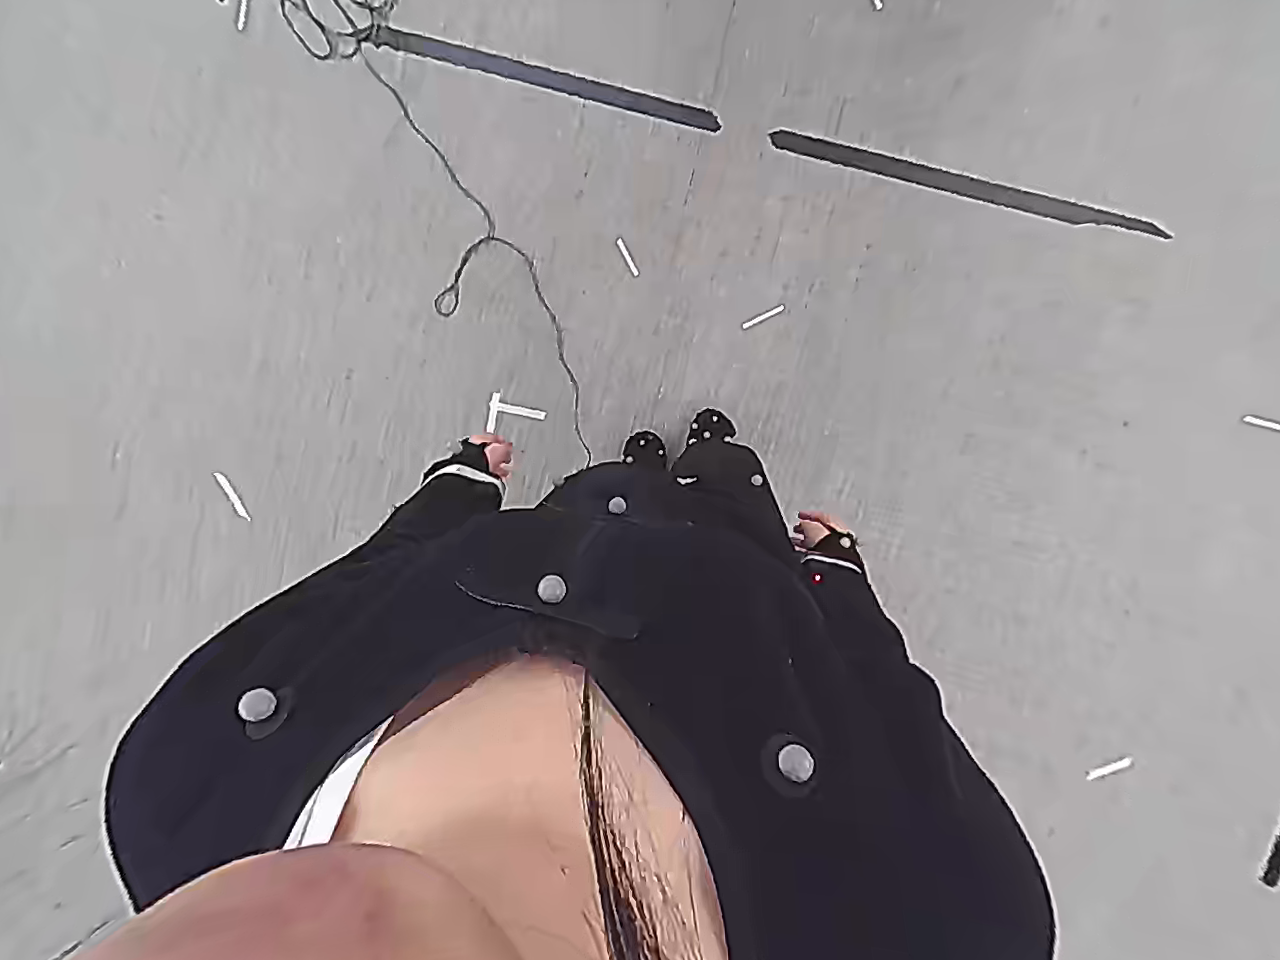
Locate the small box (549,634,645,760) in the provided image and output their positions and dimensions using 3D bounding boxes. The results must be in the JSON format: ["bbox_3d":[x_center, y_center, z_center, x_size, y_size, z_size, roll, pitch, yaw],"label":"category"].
[{"bbox_3d":[-0.084,0.454,1.153,0.168,0.176,0.179,11,94,1],"label":"small box"}]
